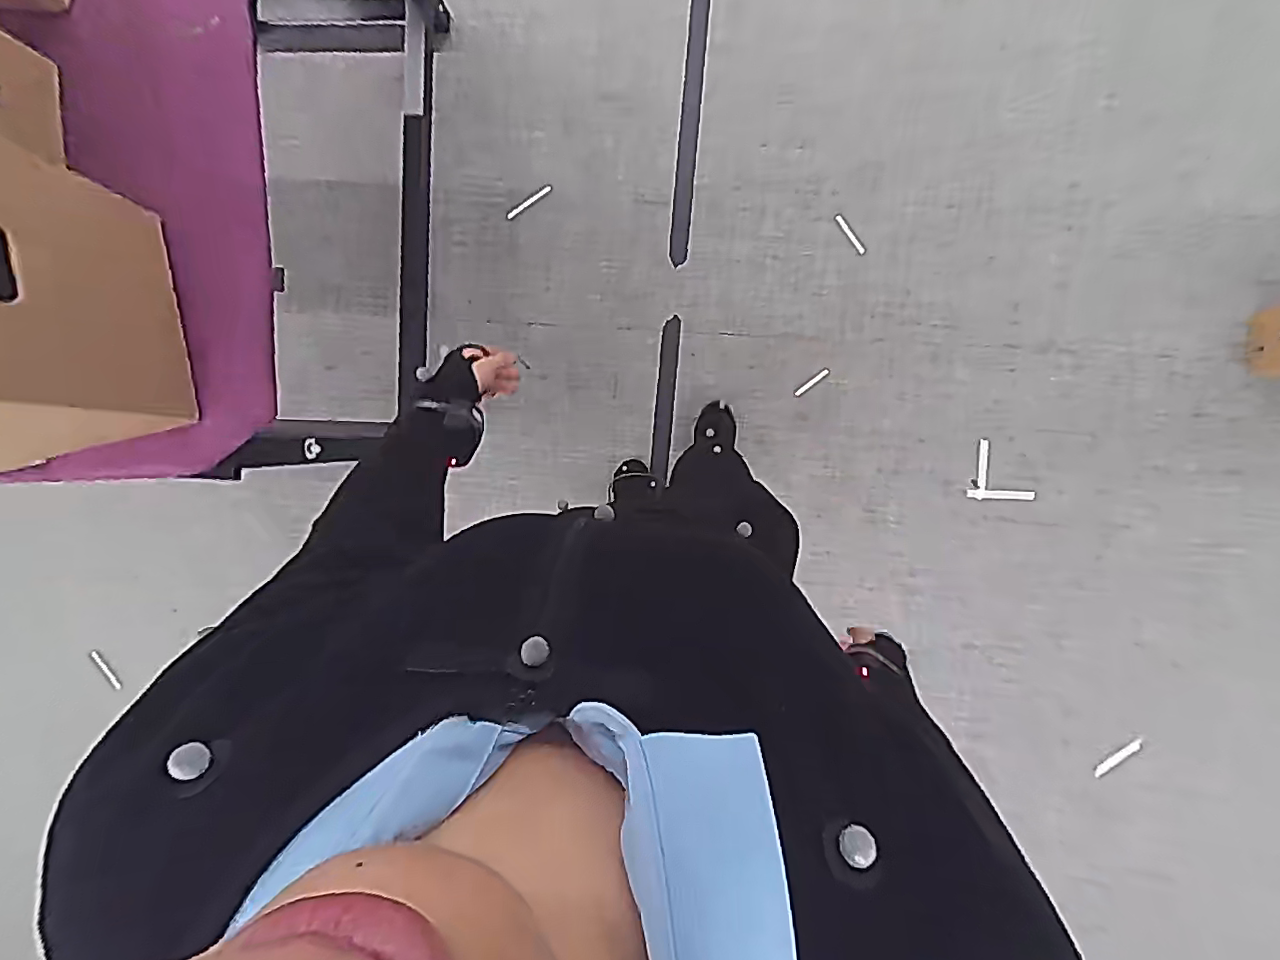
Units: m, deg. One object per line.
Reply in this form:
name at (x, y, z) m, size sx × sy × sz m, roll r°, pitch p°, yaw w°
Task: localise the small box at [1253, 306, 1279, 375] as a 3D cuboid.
small box at (1.643, -0.343, 1.292) m, size 0.179 × 0.176 × 0.168 m, roll 0°, pitch 94°, yaw 3°
